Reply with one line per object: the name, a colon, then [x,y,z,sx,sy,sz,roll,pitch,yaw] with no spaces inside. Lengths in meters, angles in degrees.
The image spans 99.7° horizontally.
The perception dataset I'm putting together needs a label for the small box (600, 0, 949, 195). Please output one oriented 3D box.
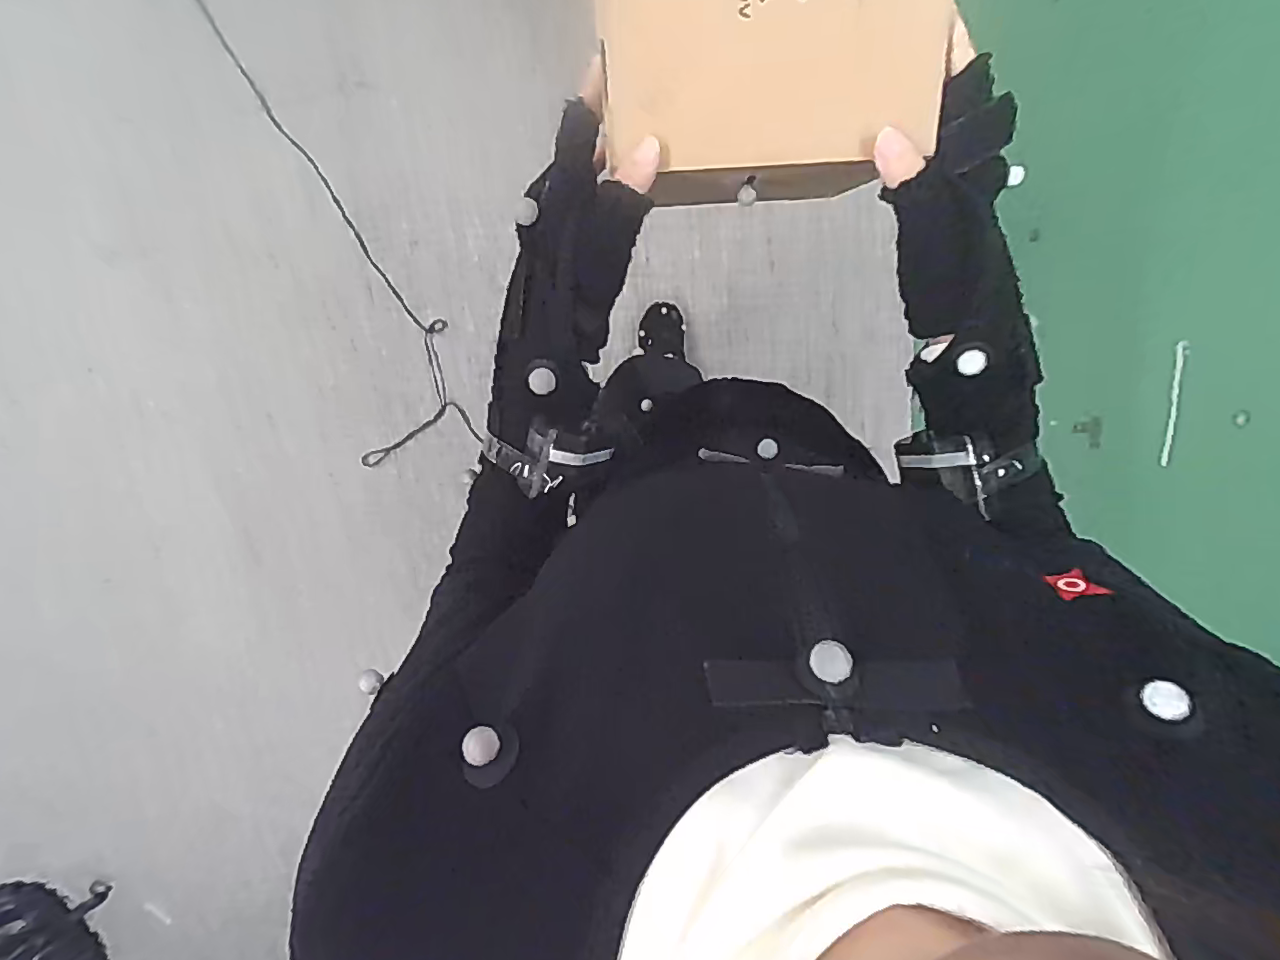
small box: [0.066,-0.282,0.337,0.179,0.176,0.168,-3,113,0]
